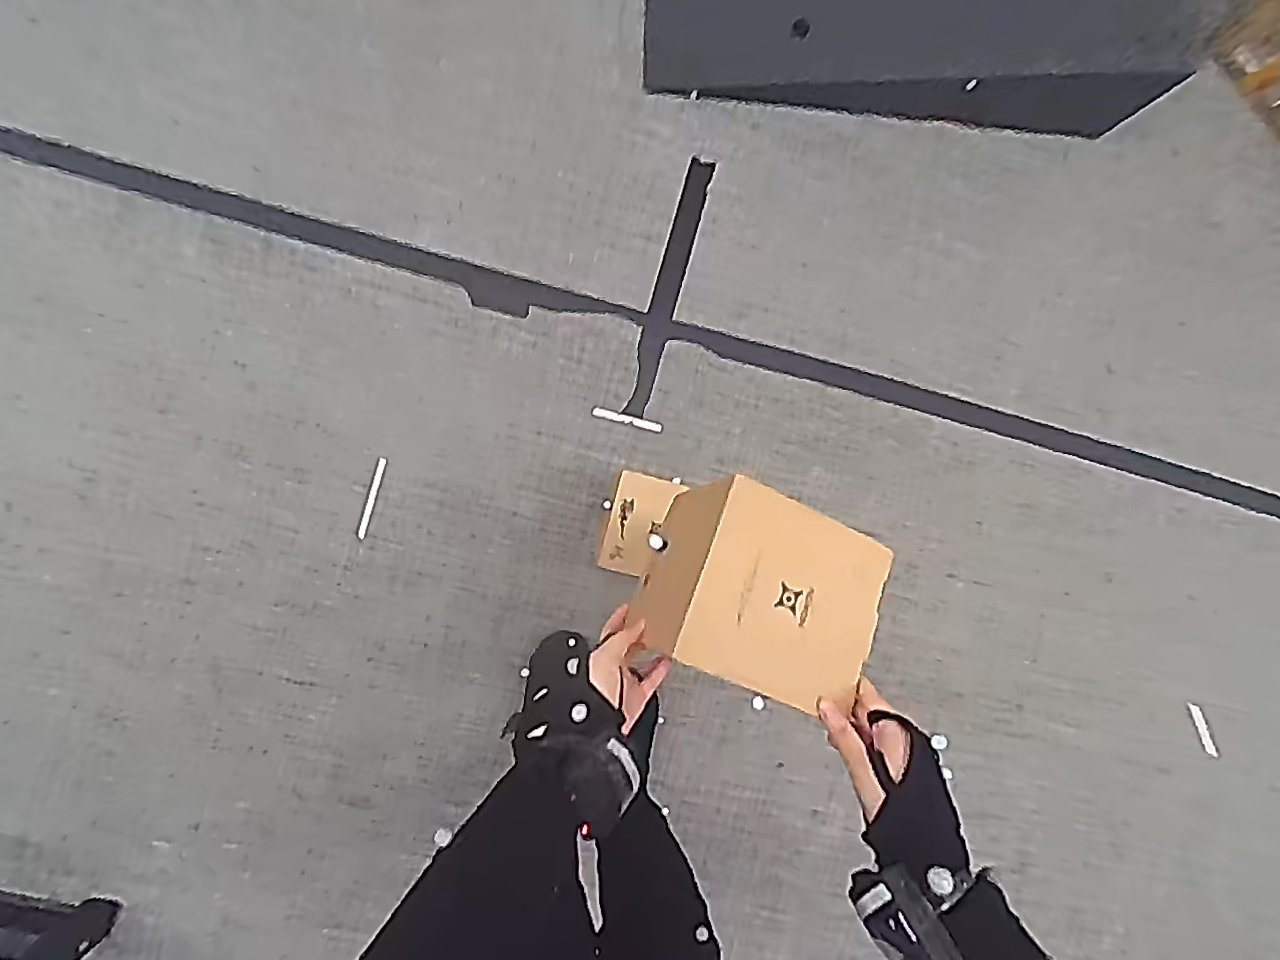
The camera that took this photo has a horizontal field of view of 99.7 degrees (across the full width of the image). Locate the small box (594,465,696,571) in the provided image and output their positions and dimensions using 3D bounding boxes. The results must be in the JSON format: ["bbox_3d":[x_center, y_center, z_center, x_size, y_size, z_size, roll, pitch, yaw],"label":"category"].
[{"bbox_3d":[0.024,0.072,0.950,0.179,0.176,0.168,15,89,-7],"label":"small box"}]

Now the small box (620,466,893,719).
[{"bbox_3d":[0.103,0.105,0.533,0.179,0.176,0.168,26,75,-11],"label":"small box"}]
